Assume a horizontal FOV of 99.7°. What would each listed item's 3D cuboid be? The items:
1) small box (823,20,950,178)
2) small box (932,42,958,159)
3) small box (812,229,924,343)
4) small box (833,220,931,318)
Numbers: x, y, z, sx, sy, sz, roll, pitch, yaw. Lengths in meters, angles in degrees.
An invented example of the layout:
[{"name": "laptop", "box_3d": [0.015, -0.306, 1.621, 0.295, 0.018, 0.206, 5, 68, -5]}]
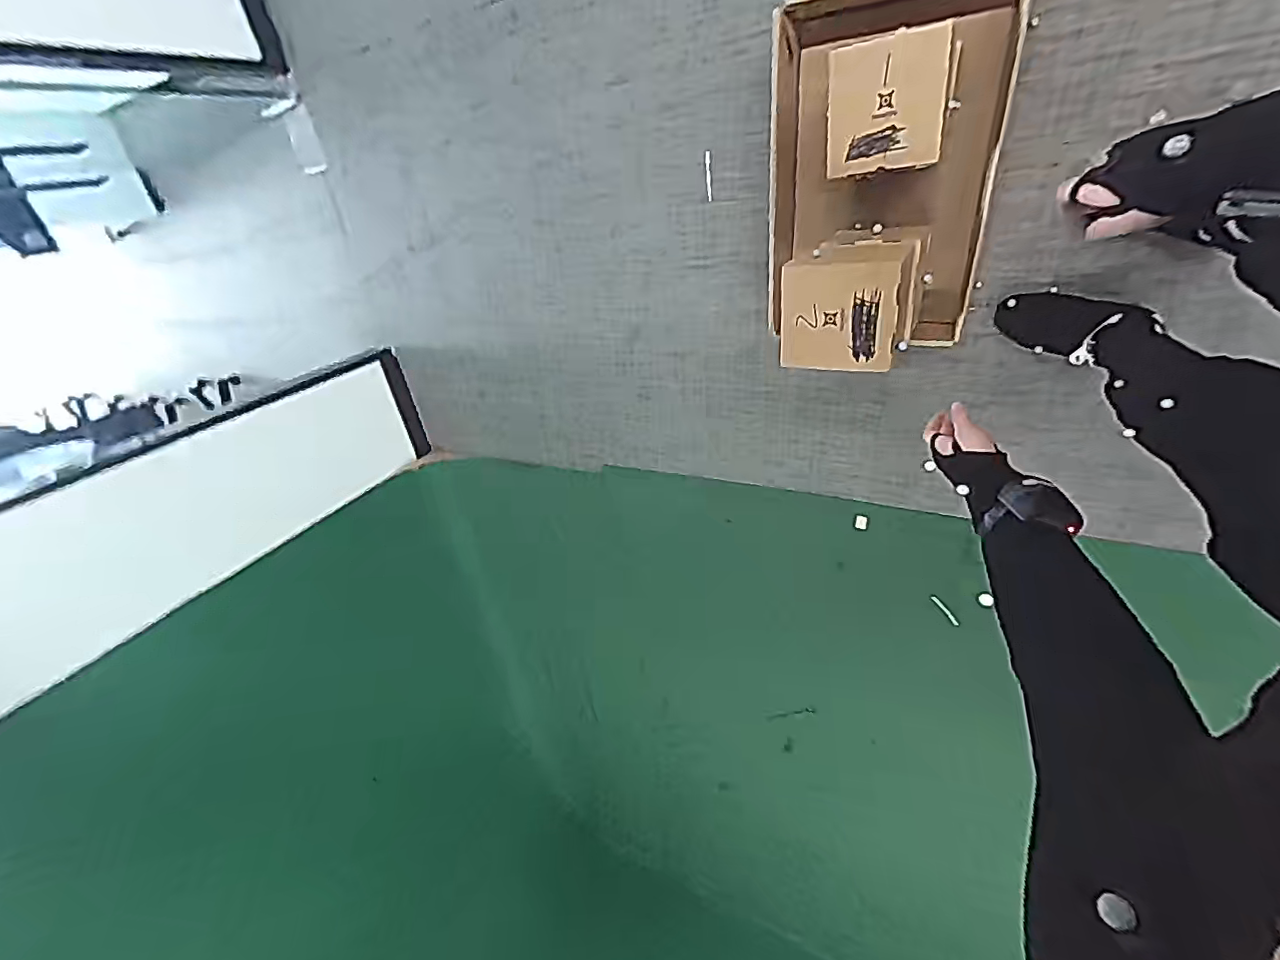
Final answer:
[{"name": "small box", "box_3d": [0.398, -0.605, 0.875, 0.168, 0.176, 0.179, 7, 123, 27]}, {"name": "small box", "box_3d": [0.473, -0.687, 0.997, 0.179, 0.176, 0.168, 11, 125, 25]}, {"name": "small box", "box_3d": [0.429, -0.368, 1.014, 0.168, 0.176, 0.179, 9, 123, 28]}, {"name": "small box", "box_3d": [0.502, -0.445, 1.139, 0.179, 0.176, 0.168, 11, 124, 27]}]
